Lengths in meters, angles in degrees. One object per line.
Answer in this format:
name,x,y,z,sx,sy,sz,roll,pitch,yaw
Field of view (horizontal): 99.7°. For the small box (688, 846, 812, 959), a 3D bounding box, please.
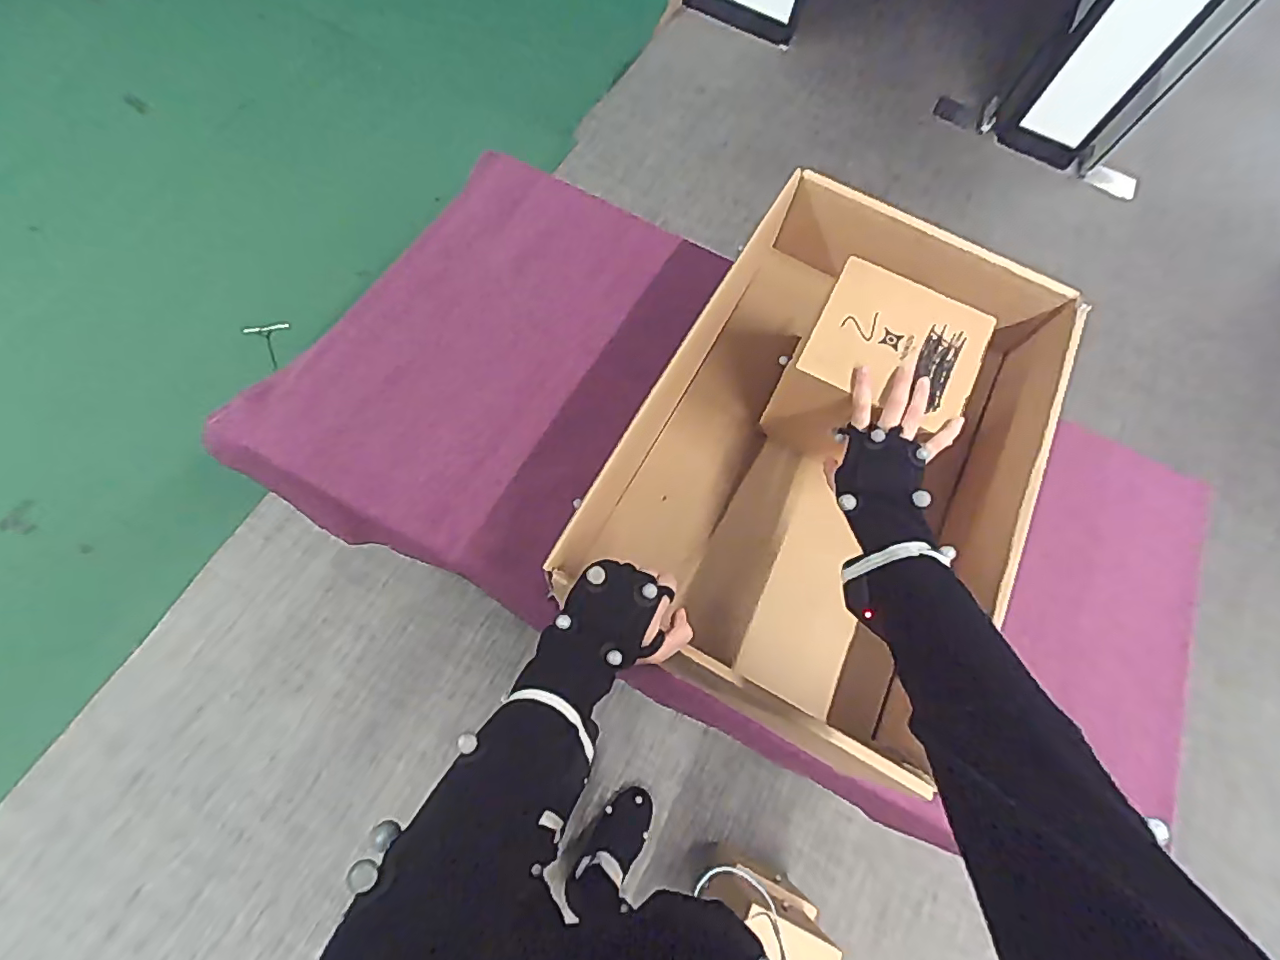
small box,0.217,0.887,1.104,0.179,0.176,0.168,26,69,5
